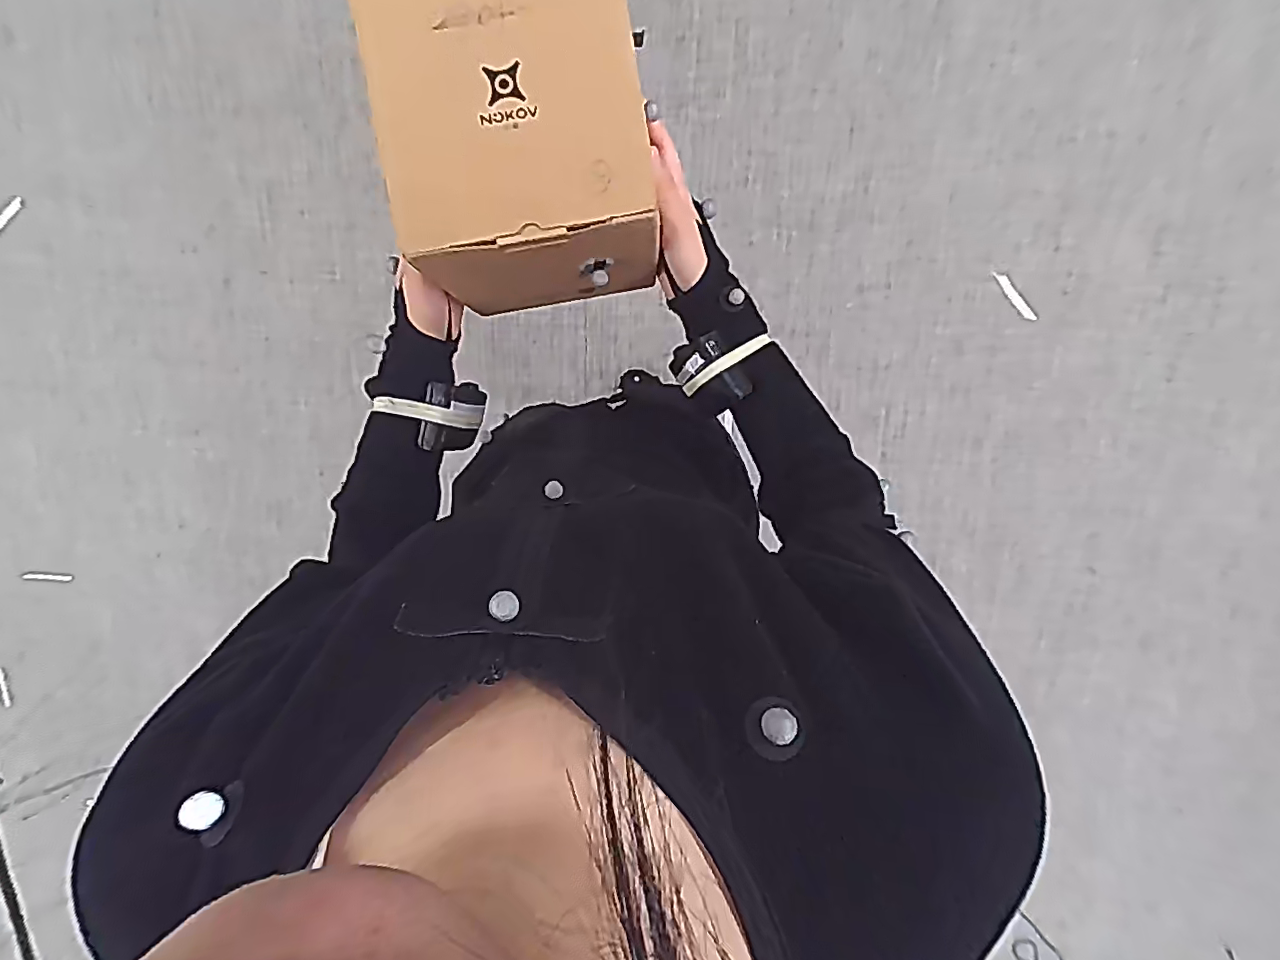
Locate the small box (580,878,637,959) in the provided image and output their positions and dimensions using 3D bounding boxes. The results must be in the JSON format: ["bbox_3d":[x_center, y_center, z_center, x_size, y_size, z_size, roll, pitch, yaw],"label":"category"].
[{"bbox_3d":[-0.096,1.419,1.718,0.168,0.176,0.179,3,103,2],"label":"small box"}]
